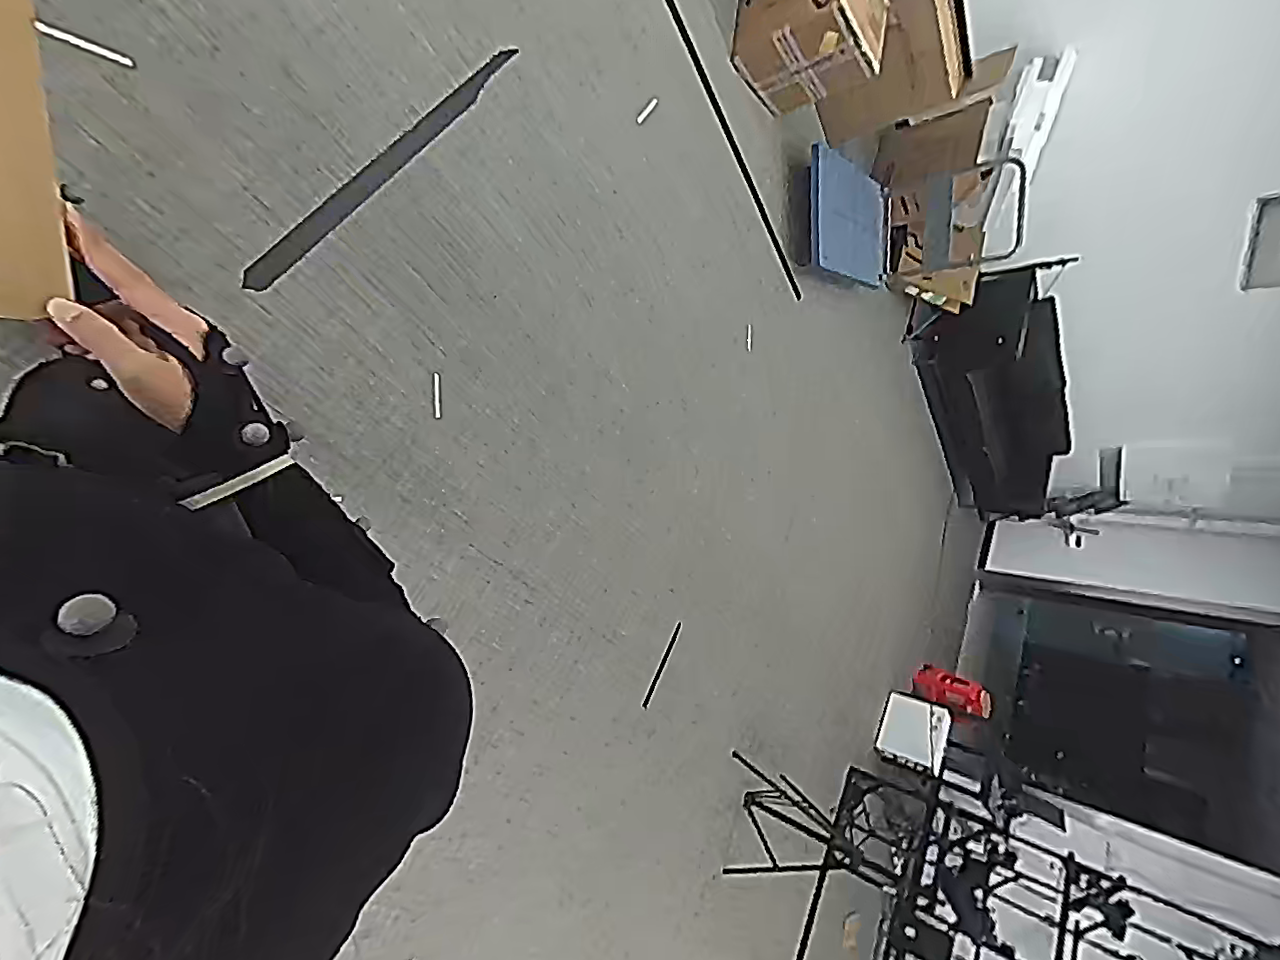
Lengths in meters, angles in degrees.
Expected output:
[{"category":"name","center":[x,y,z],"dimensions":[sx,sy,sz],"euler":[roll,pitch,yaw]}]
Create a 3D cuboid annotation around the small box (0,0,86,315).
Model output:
[{"category":"small box","center":[-0.426,-0.187,0.278],"dimensions":[0.179,0.176,0.168],"euler":[-9,113,-48]}]
